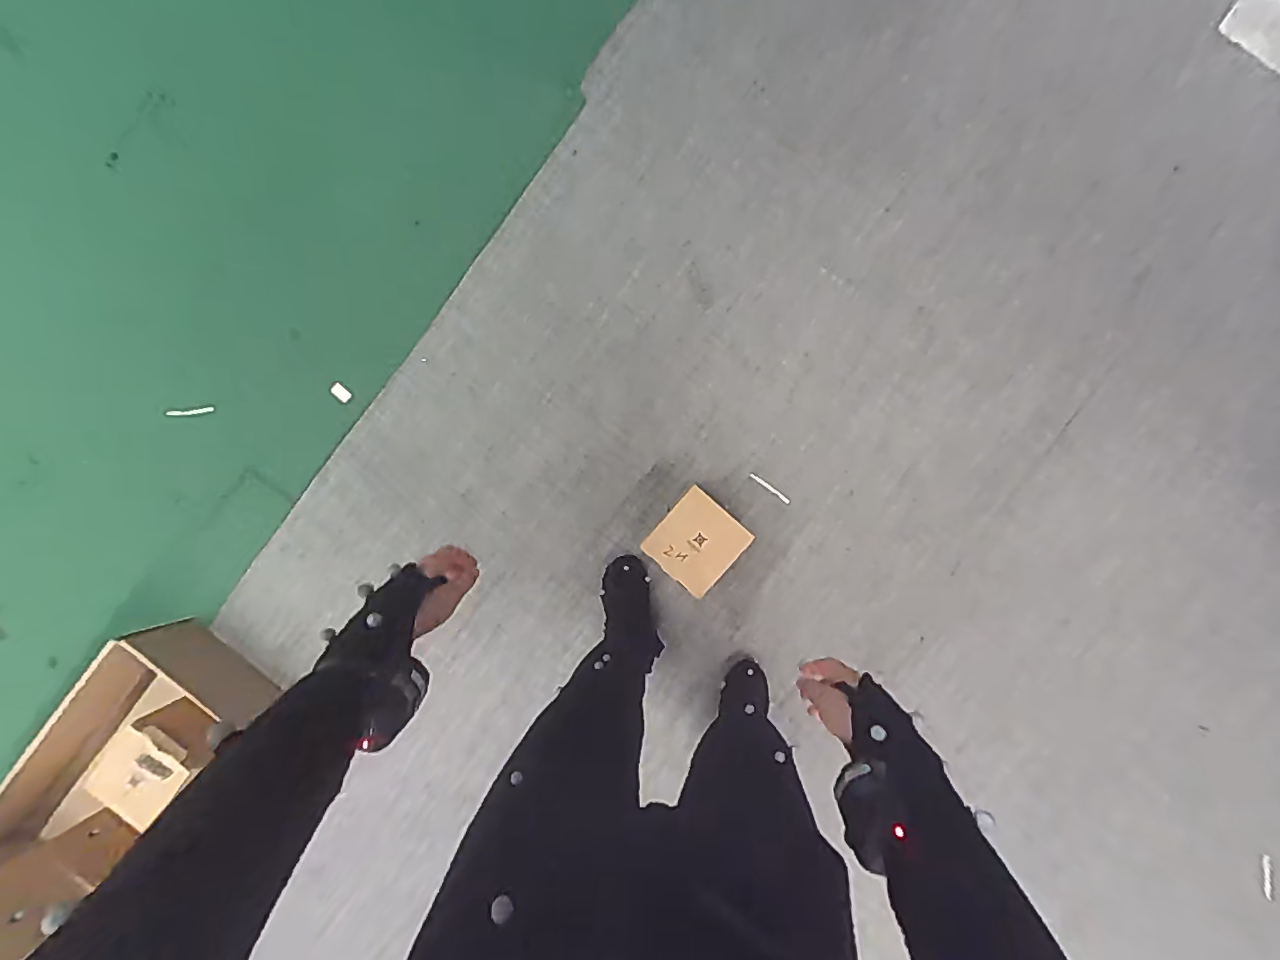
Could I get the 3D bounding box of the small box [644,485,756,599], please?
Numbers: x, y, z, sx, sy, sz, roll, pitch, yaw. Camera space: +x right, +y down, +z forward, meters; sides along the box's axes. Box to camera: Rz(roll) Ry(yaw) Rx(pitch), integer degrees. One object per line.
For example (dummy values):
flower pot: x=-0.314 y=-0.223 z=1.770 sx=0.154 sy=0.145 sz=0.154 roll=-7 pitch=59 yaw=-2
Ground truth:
small box: x=0.122 y=0.125 z=1.175 sx=0.168 sy=0.176 sz=0.179 roll=42 pitch=92 yaw=2

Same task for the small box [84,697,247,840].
small box: x=-1.003 y=0.606 z=1.164 sx=0.168 sy=0.176 sz=0.179 roll=37 pitch=93 yaw=1
